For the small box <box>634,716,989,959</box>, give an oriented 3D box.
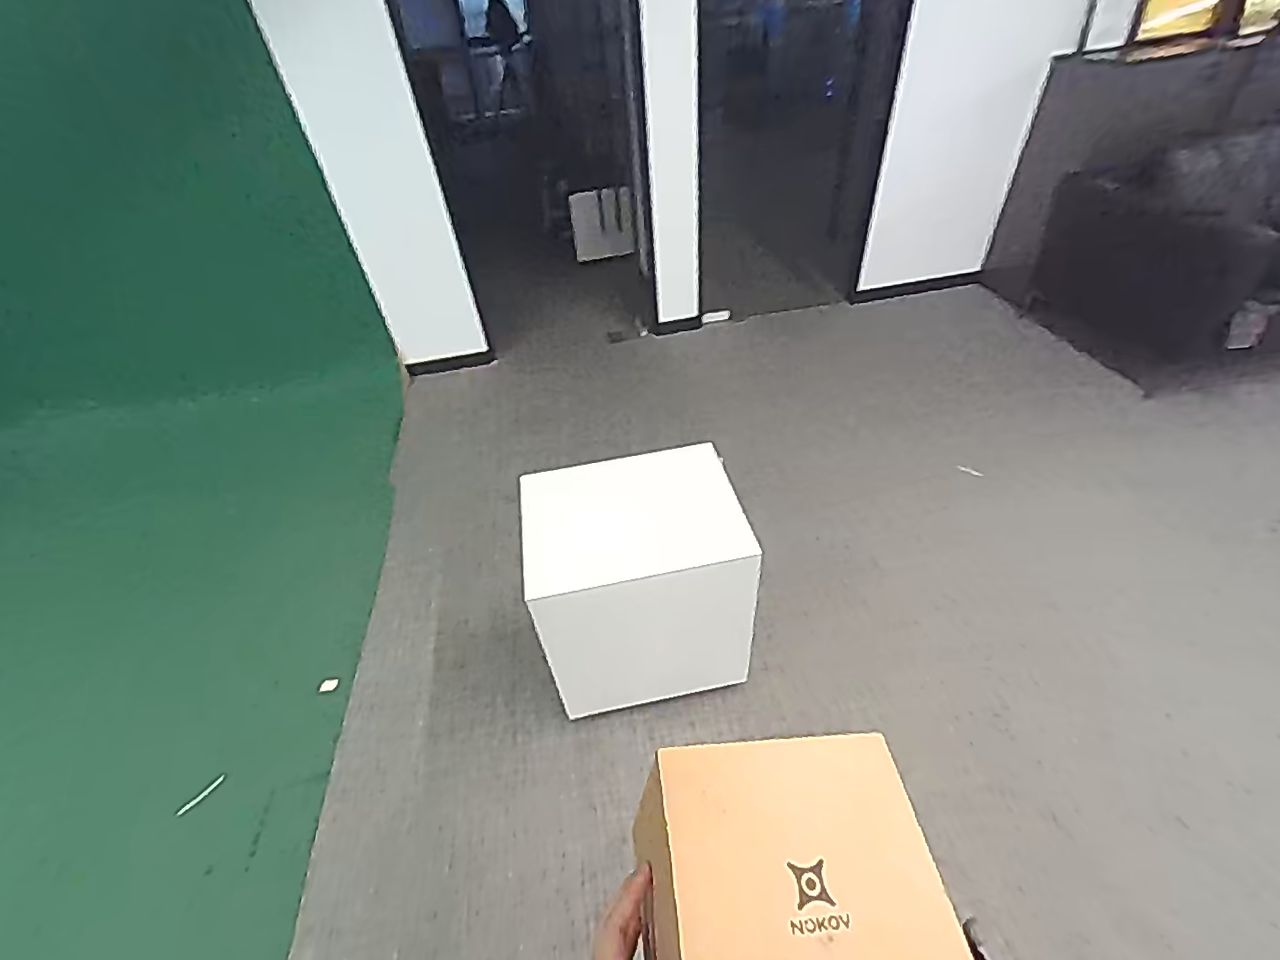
[{"bbox_3d":[0.091,0.285,0.363,0.168,0.176,0.179,-1,44,-9],"label":"small box"}]
